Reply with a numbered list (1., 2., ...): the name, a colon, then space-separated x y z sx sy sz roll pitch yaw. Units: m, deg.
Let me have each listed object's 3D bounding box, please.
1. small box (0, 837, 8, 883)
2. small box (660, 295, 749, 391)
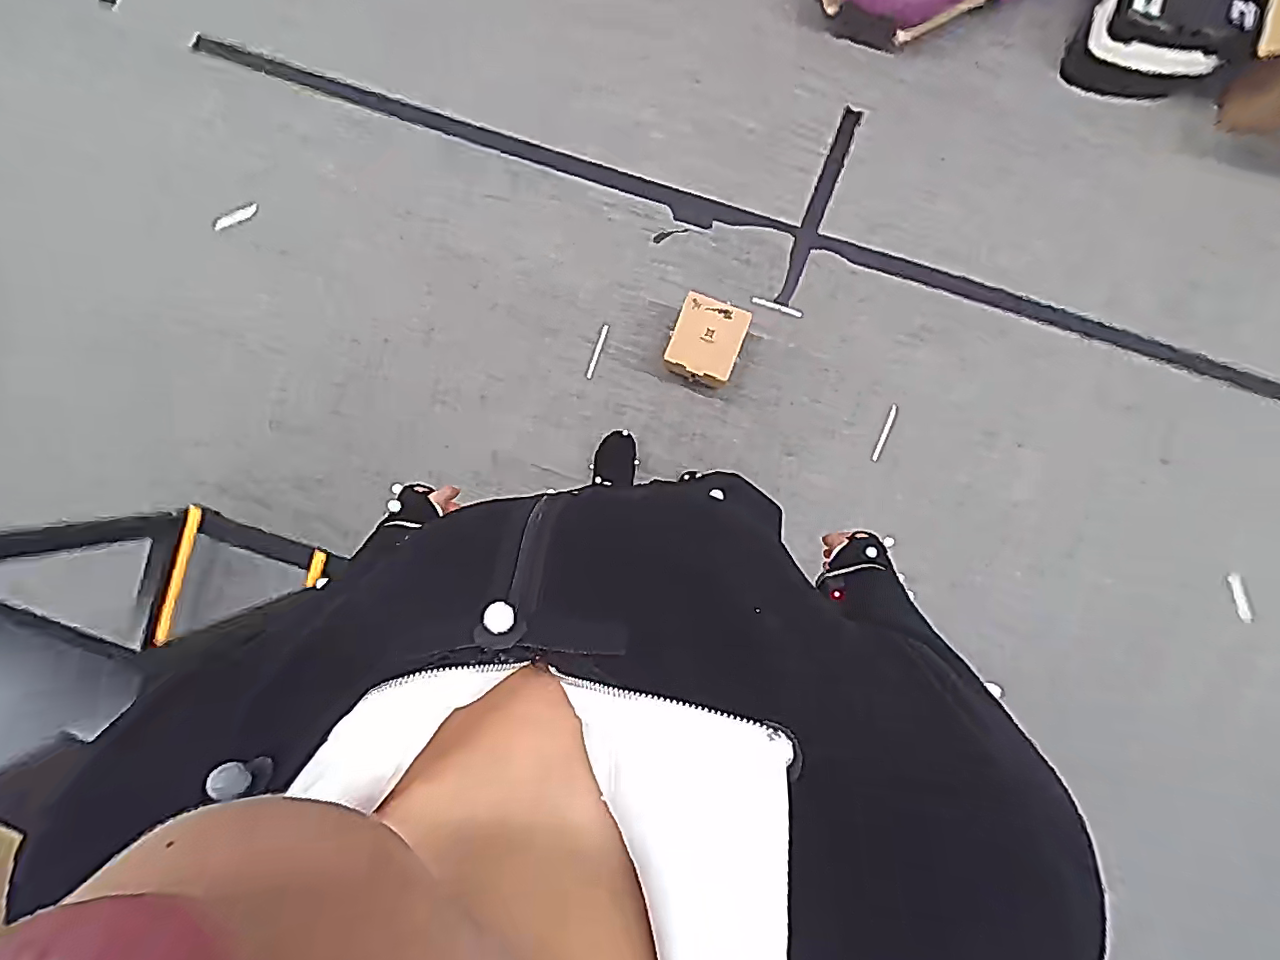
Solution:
1. small box: -1.078 0.616 0.765 0.168 0.176 0.179 20 94 2
2. small box: 0.160 -0.338 1.370 0.168 0.176 0.179 22 95 2
